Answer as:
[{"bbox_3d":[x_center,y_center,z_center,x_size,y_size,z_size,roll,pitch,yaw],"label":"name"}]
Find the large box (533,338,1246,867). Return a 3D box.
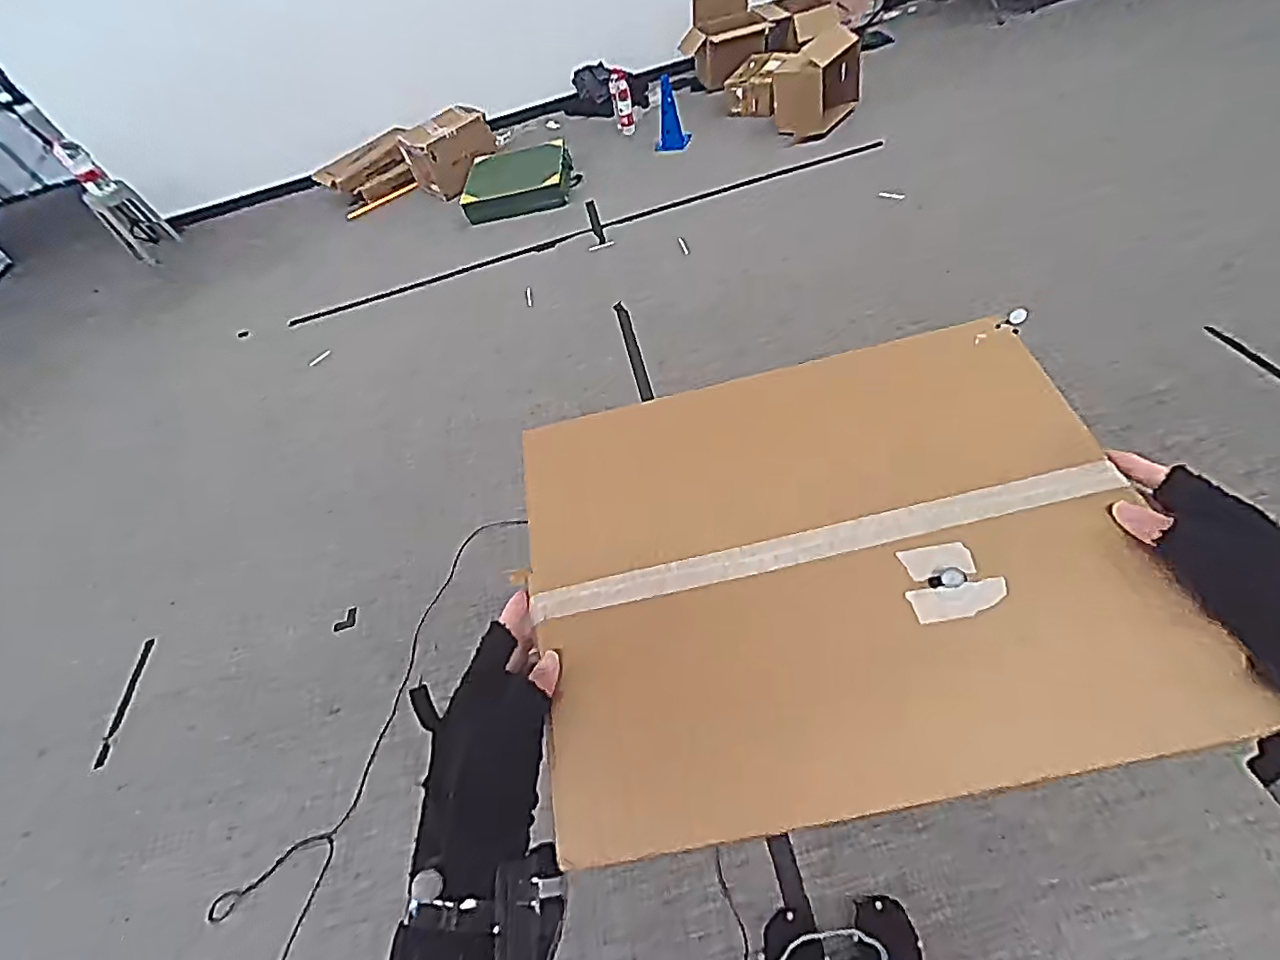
[{"bbox_3d":[0.147,0.126,0.515,0.408,0.320,0.320,-13,60,2],"label":"large box"}]
